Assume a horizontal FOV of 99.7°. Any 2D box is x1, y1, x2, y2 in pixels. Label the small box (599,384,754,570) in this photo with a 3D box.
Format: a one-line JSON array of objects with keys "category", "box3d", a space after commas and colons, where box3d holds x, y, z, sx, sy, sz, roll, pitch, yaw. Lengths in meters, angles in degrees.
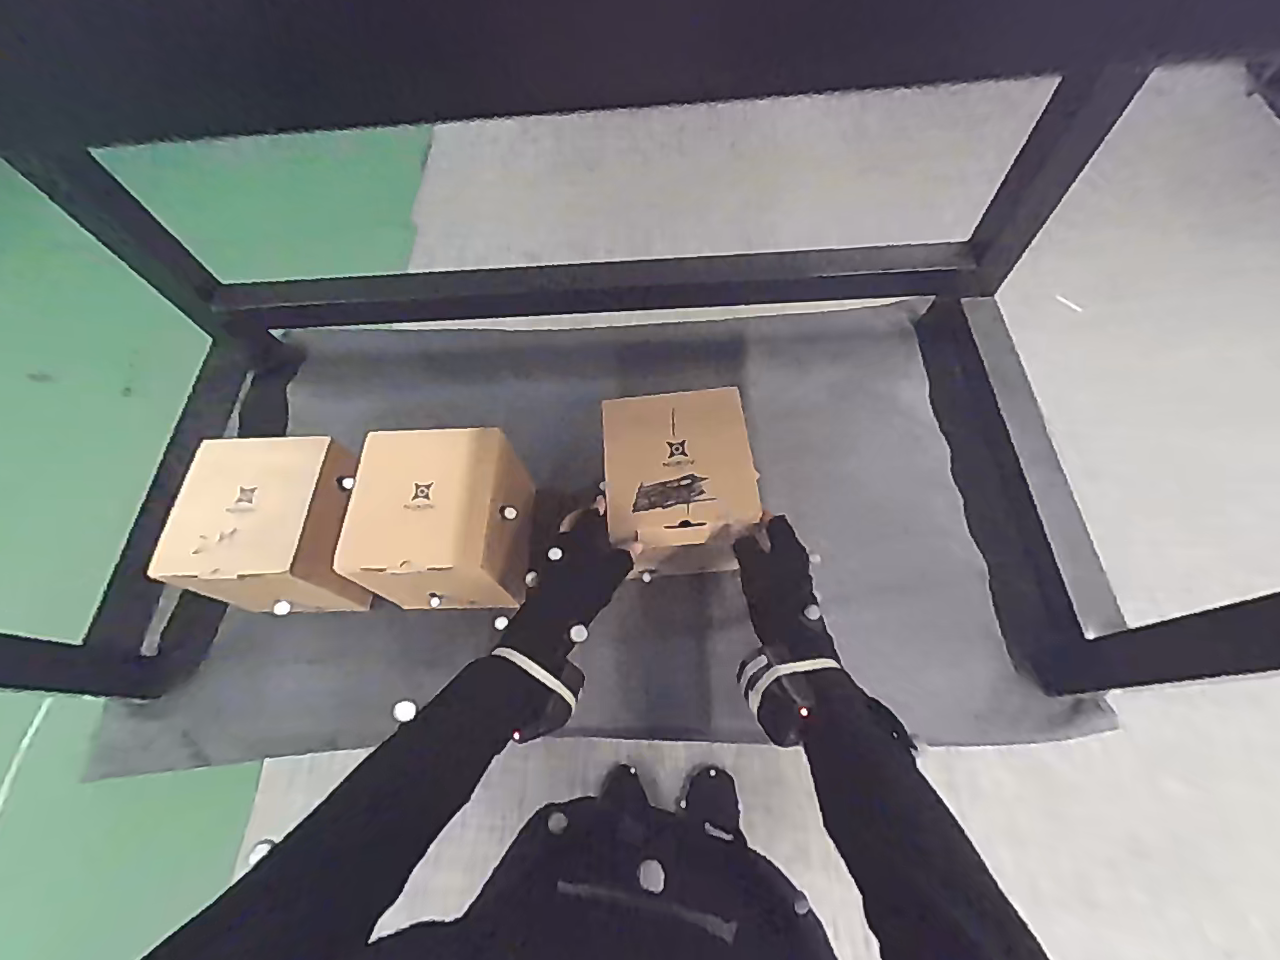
[{"category": "small box", "box3d": [0.043, 0.007, 0.678, 0.168, 0.176, 0.179, -6, 62, 2]}]
